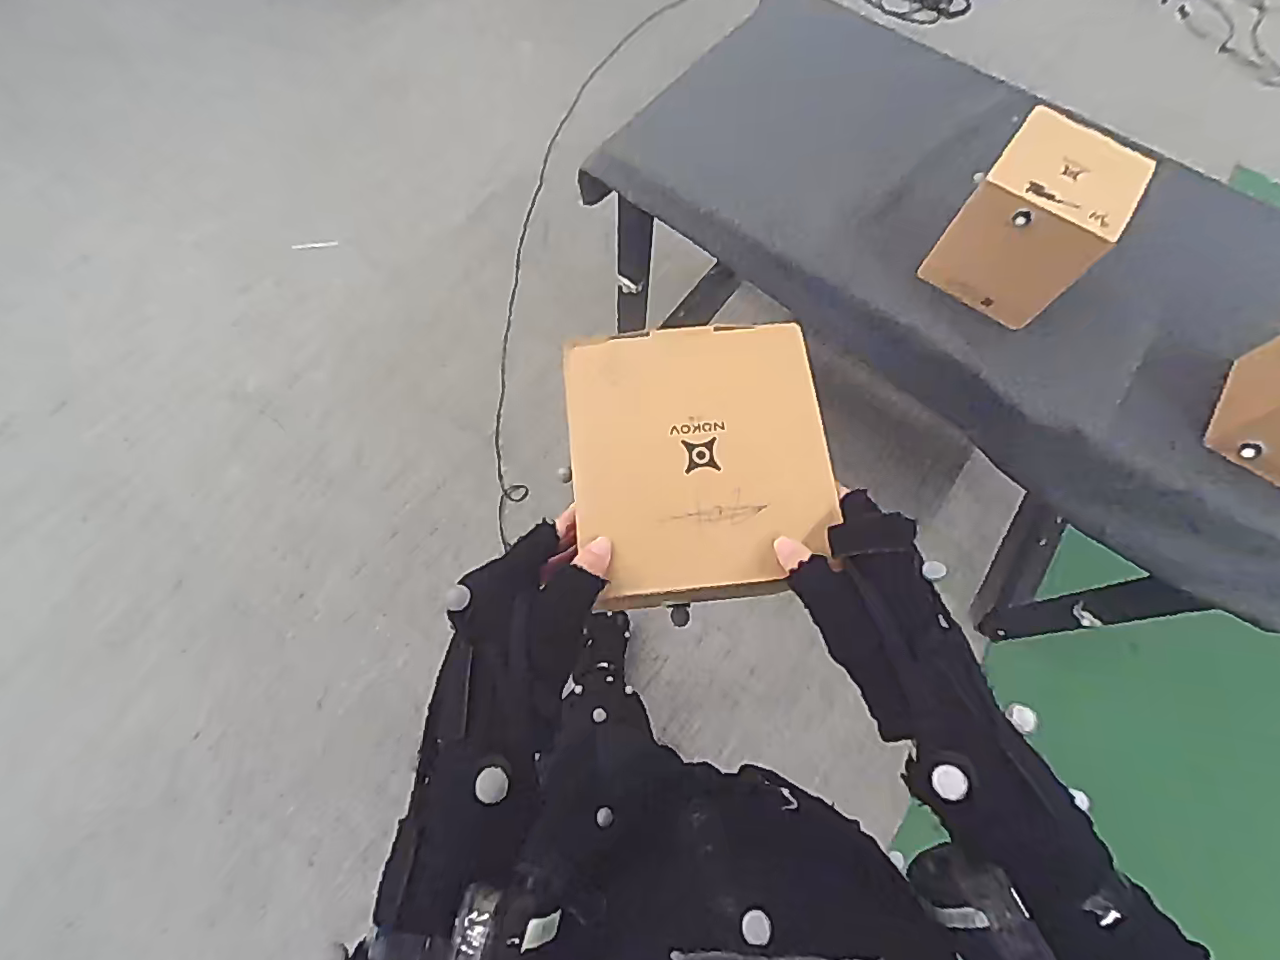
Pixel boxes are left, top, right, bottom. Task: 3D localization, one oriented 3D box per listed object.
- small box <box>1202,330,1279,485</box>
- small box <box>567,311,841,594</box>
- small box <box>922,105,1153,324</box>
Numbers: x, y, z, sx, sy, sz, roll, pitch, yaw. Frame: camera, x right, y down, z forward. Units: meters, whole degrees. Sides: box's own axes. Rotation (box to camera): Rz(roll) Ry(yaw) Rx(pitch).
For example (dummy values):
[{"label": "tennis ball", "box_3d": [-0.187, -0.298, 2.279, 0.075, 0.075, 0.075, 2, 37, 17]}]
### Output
[{"label": "small box", "box_3d": [0.859, -0.097, 0.658, 0.168, 0.176, 0.179, 37, 70, 11]}, {"label": "small box", "box_3d": [0.034, -0.009, 0.430, 0.168, 0.176, 0.179, -6, 76, -3]}, {"label": "small box", "box_3d": [0.529, -0.356, 0.743, 0.168, 0.176, 0.179, 36, 71, 11]}]
